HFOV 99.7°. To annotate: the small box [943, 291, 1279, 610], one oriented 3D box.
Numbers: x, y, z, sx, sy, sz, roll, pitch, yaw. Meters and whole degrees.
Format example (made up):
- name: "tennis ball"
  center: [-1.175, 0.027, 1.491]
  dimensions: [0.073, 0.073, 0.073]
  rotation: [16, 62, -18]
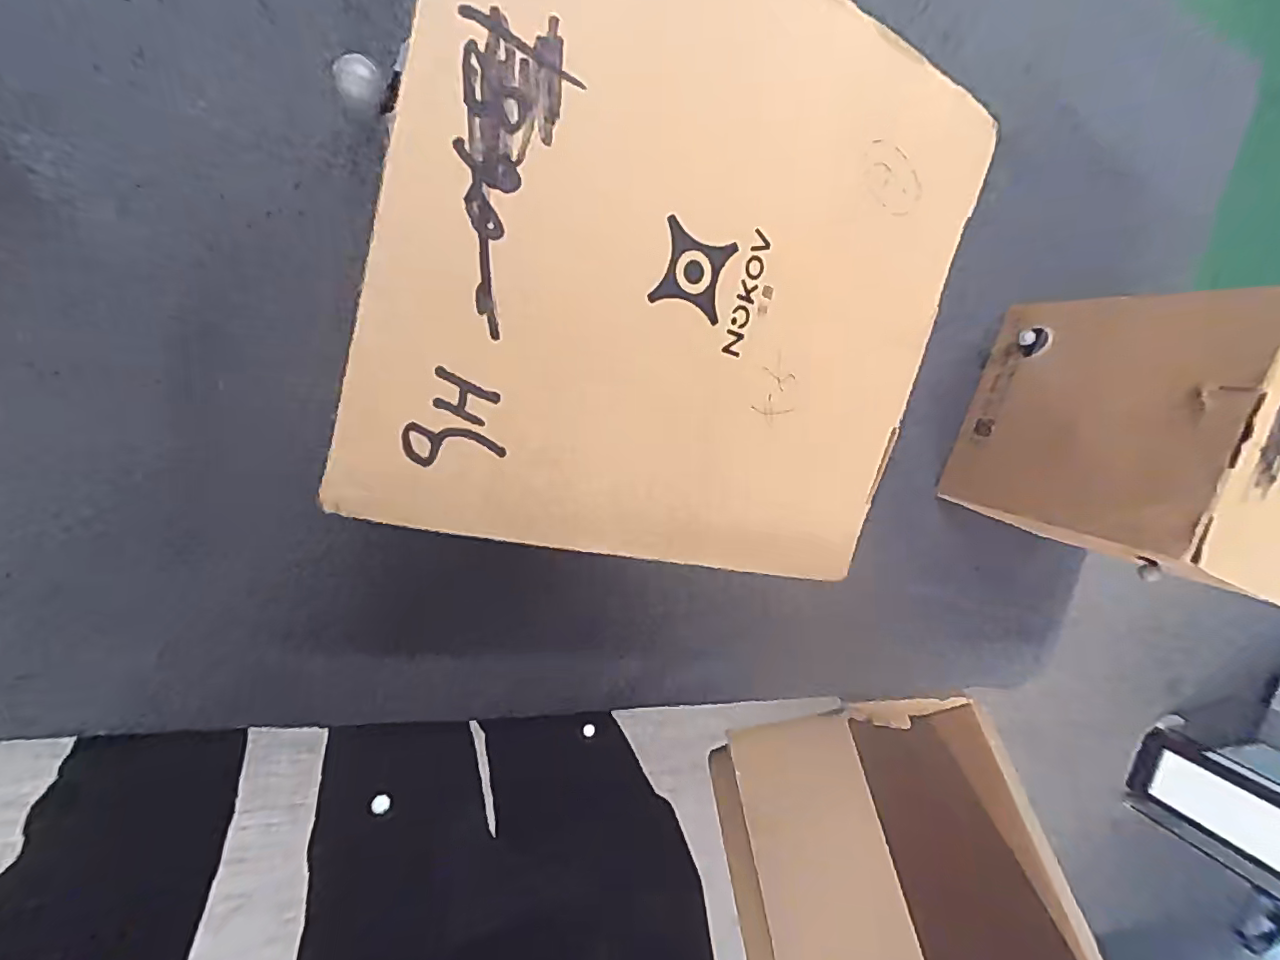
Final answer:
- name: "small box"
  center: [0.374, -0.022, 0.410]
  dimensions: [0.179, 0.176, 0.168]
  rotation: [16, 95, -27]
